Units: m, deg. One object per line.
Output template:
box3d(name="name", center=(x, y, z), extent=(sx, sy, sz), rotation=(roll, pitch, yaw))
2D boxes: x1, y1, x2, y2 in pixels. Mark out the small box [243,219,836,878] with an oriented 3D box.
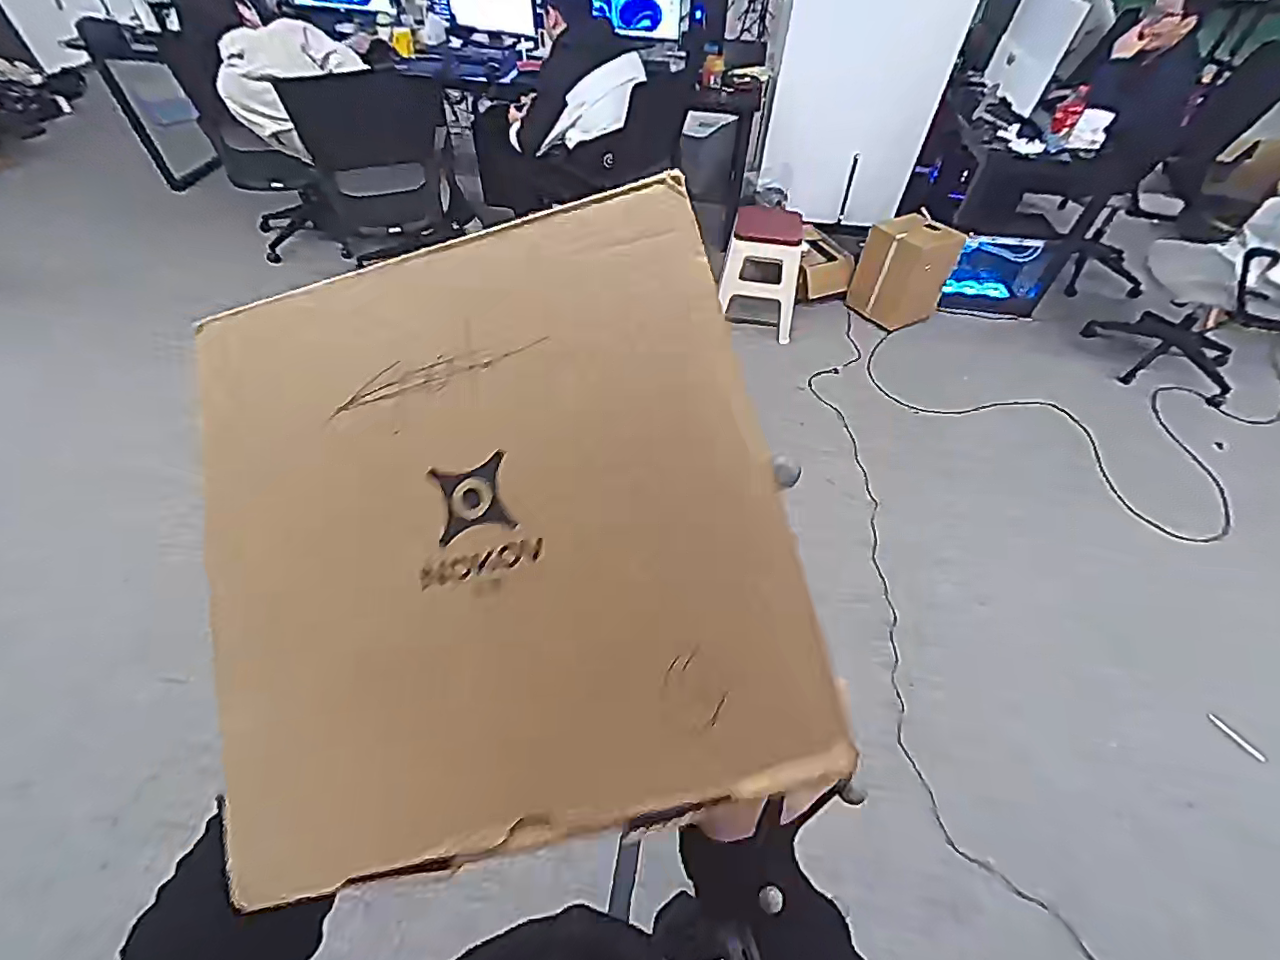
box3d(name="small box", center=(-0.034, 0.030, 0.247), extent=(0.168, 0.176, 0.179), rotation=(-16, 75, 3))
